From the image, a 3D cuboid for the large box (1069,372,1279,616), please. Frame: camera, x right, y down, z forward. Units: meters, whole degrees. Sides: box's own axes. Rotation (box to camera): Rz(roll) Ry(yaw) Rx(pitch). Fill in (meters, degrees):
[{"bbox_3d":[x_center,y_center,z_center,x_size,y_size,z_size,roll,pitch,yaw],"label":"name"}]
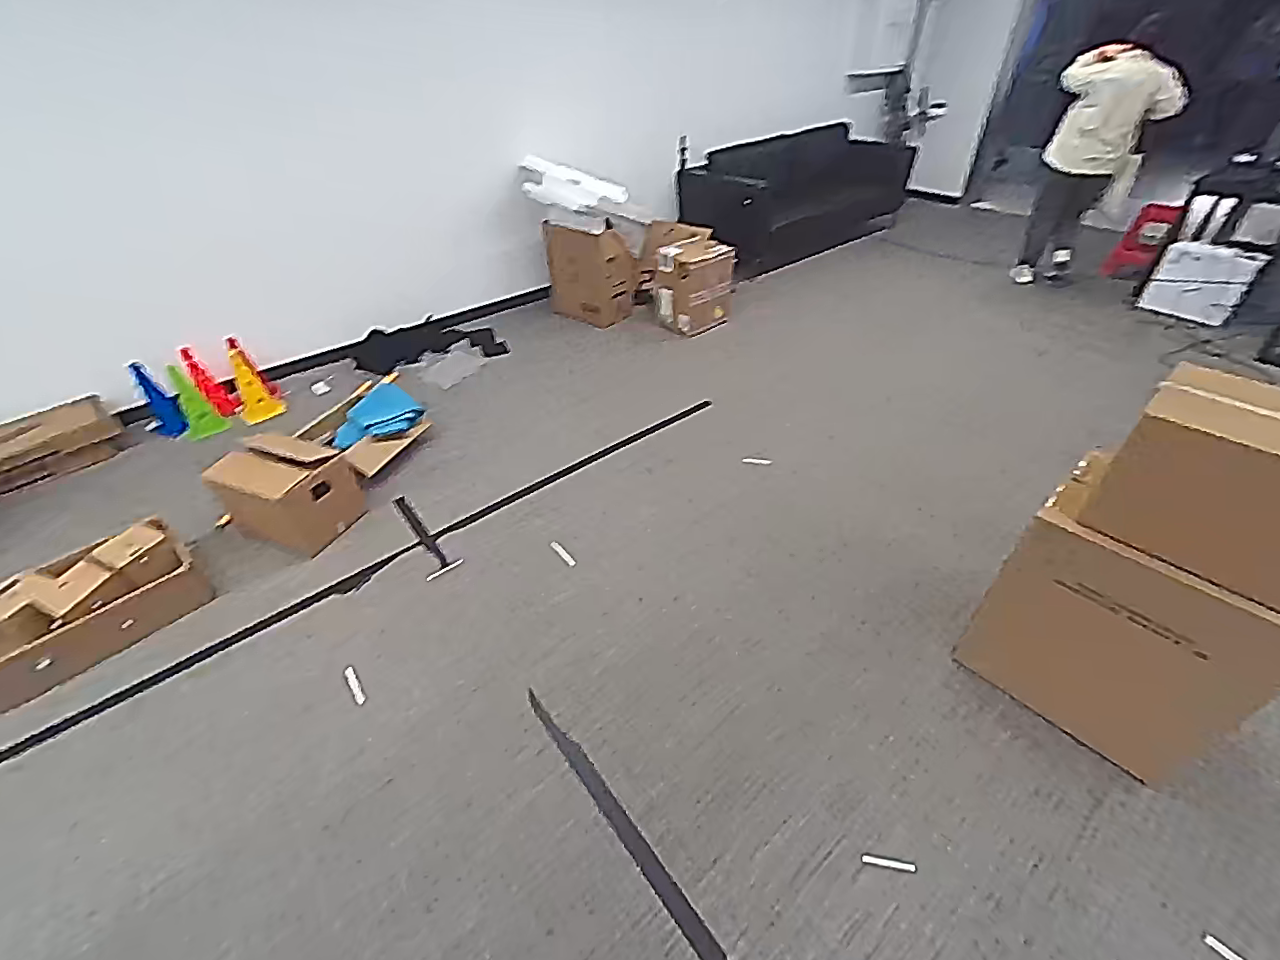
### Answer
[{"bbox_3d":[1.269,0.015,1.176,0.320,0.320,0.408,-31,48,-30],"label":"large box"}]
